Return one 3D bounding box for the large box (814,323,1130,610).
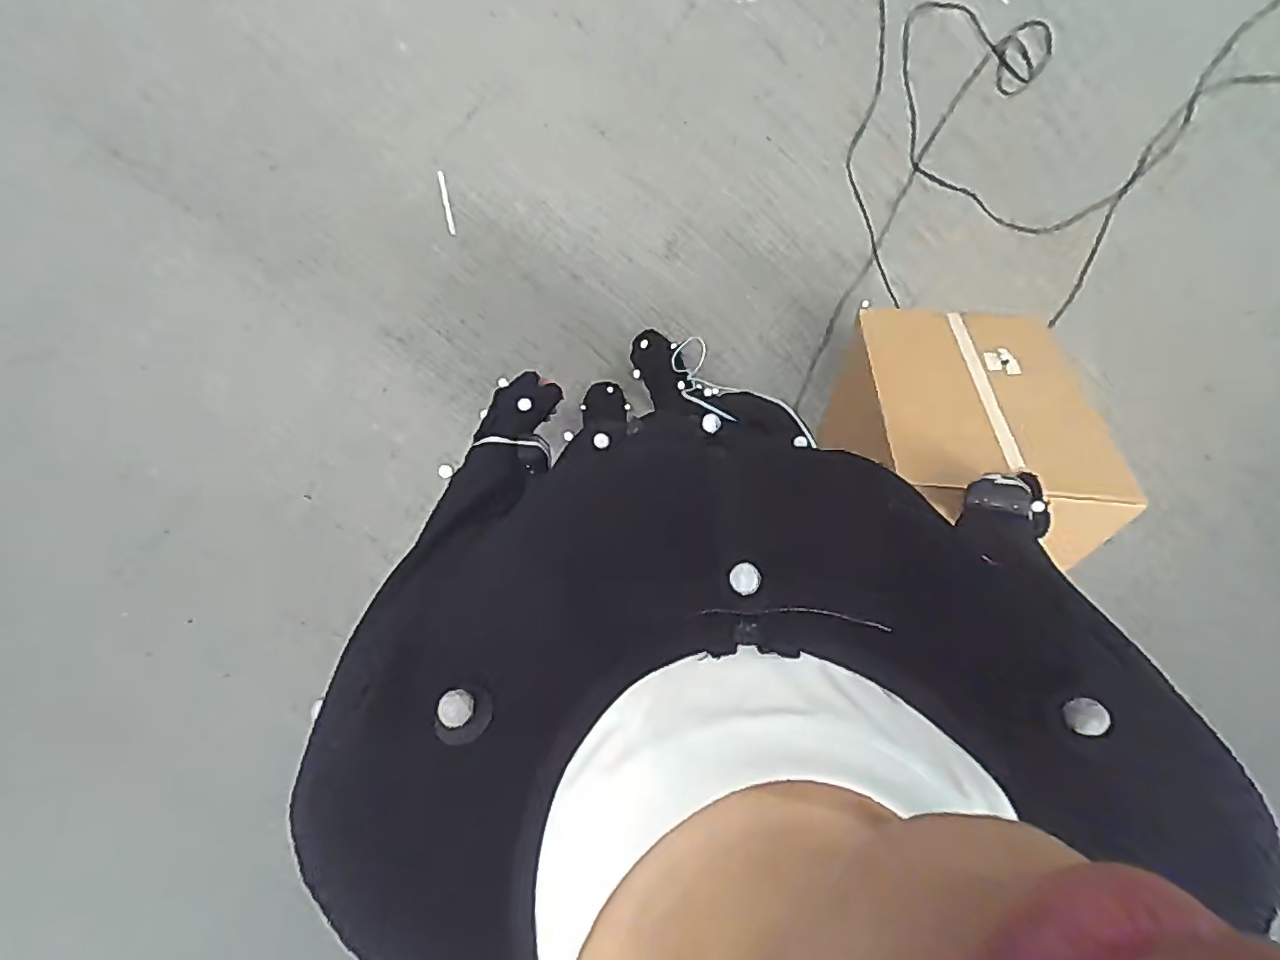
[{"bbox_3d":[0.515,-0.025,0.957,0.320,0.408,0.320,6,140,3],"label":"large box"}]
